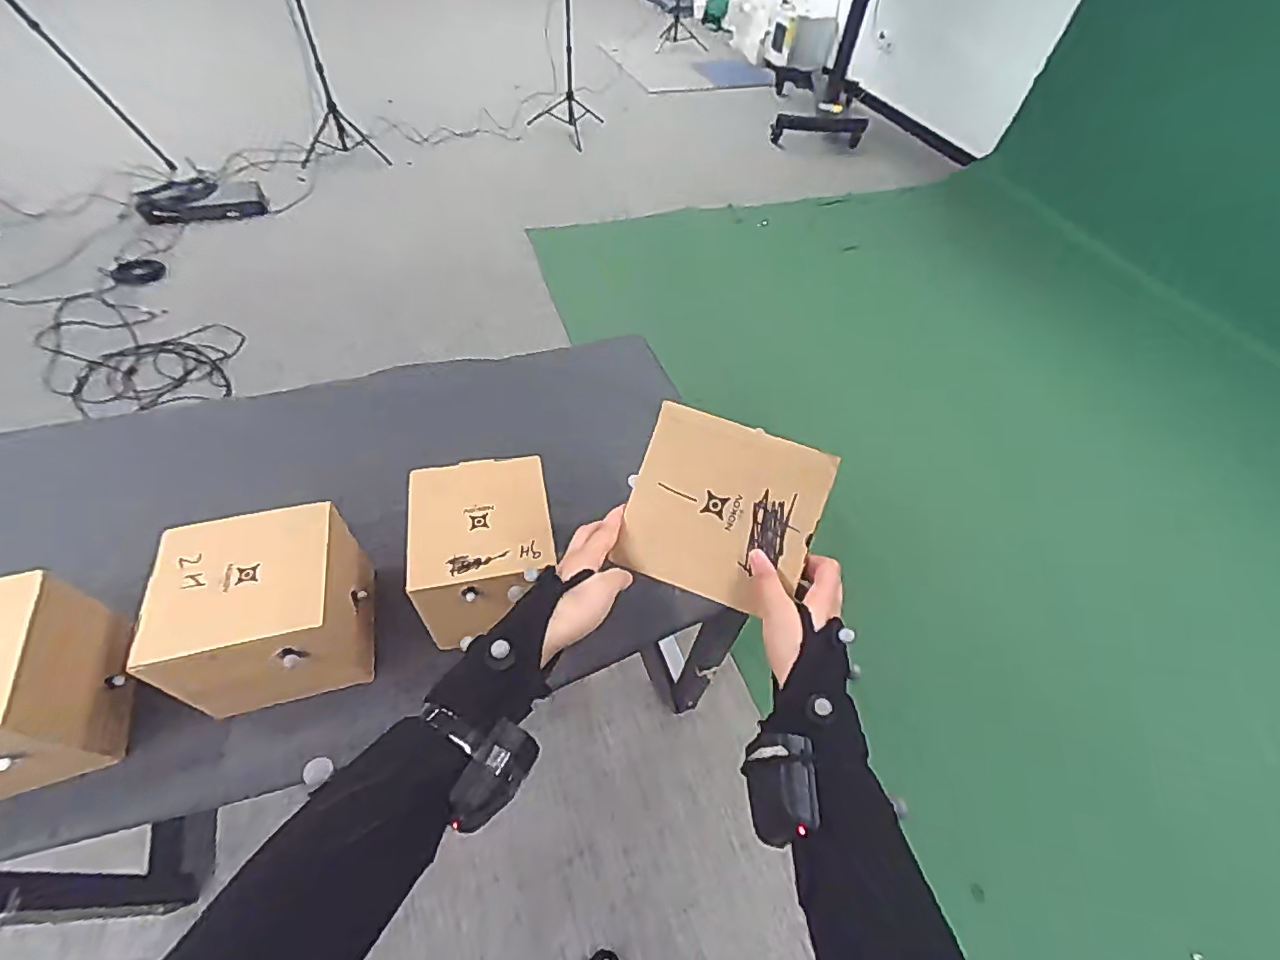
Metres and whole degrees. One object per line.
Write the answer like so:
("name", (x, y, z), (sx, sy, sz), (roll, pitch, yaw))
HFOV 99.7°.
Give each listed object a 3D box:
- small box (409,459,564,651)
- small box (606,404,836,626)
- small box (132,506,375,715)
("small box", (-0.194, 0.098, 0.710), (0.168, 0.176, 0.179), (-8, 52, -11))
("small box", (0.080, 0.038, 0.584), (0.179, 0.176, 0.168), (20, 85, 5))
("small box", (-0.429, 0.157, 0.642), (0.179, 0.176, 0.168), (-11, 53, -13))
